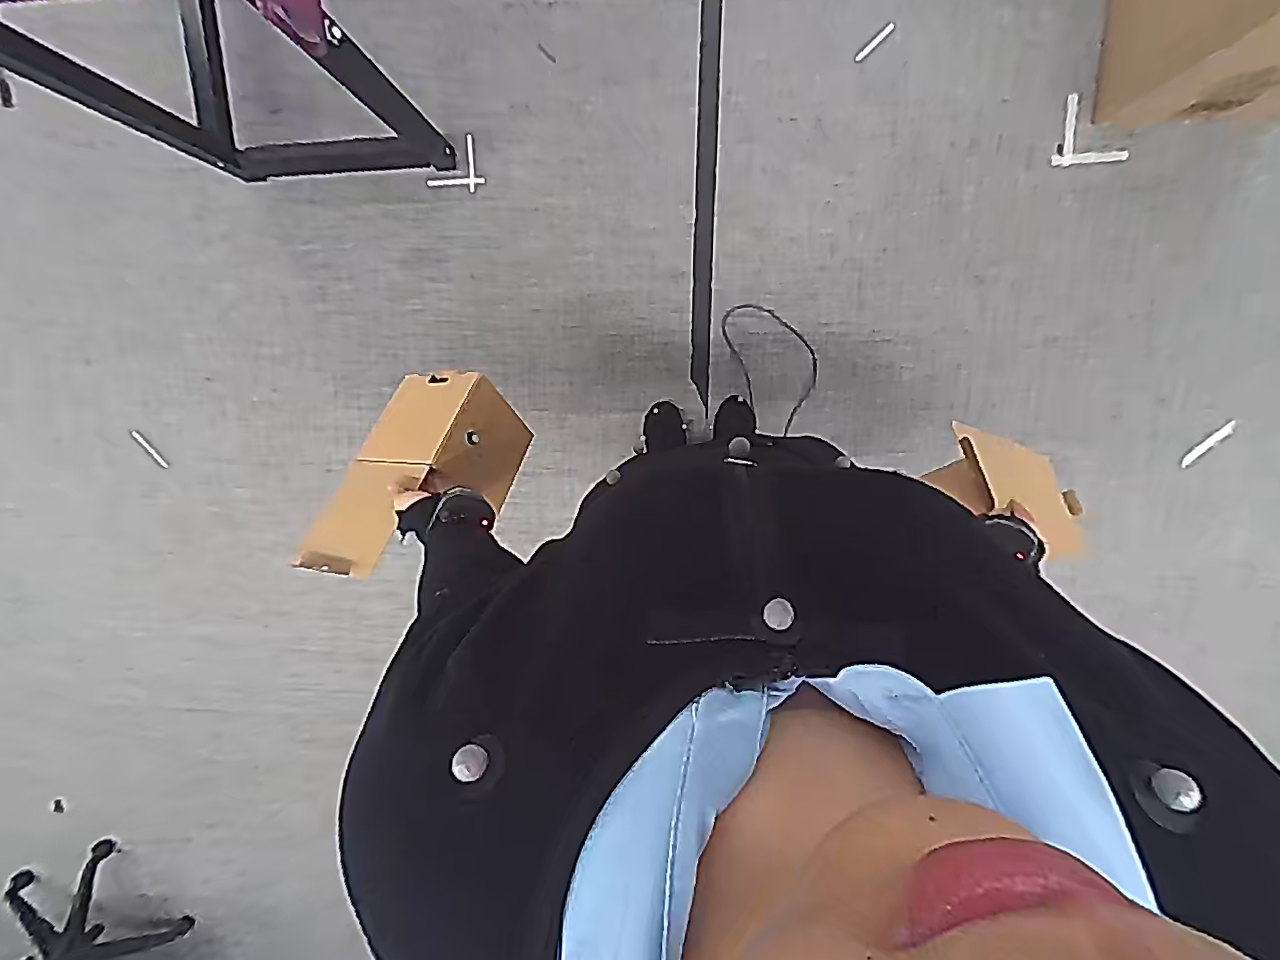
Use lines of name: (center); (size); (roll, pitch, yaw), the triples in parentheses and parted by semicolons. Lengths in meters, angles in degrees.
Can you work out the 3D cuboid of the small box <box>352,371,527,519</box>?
small box: (-0.309, -0.053, 0.874); (0.168, 0.176, 0.179); (4, 59, 25)
